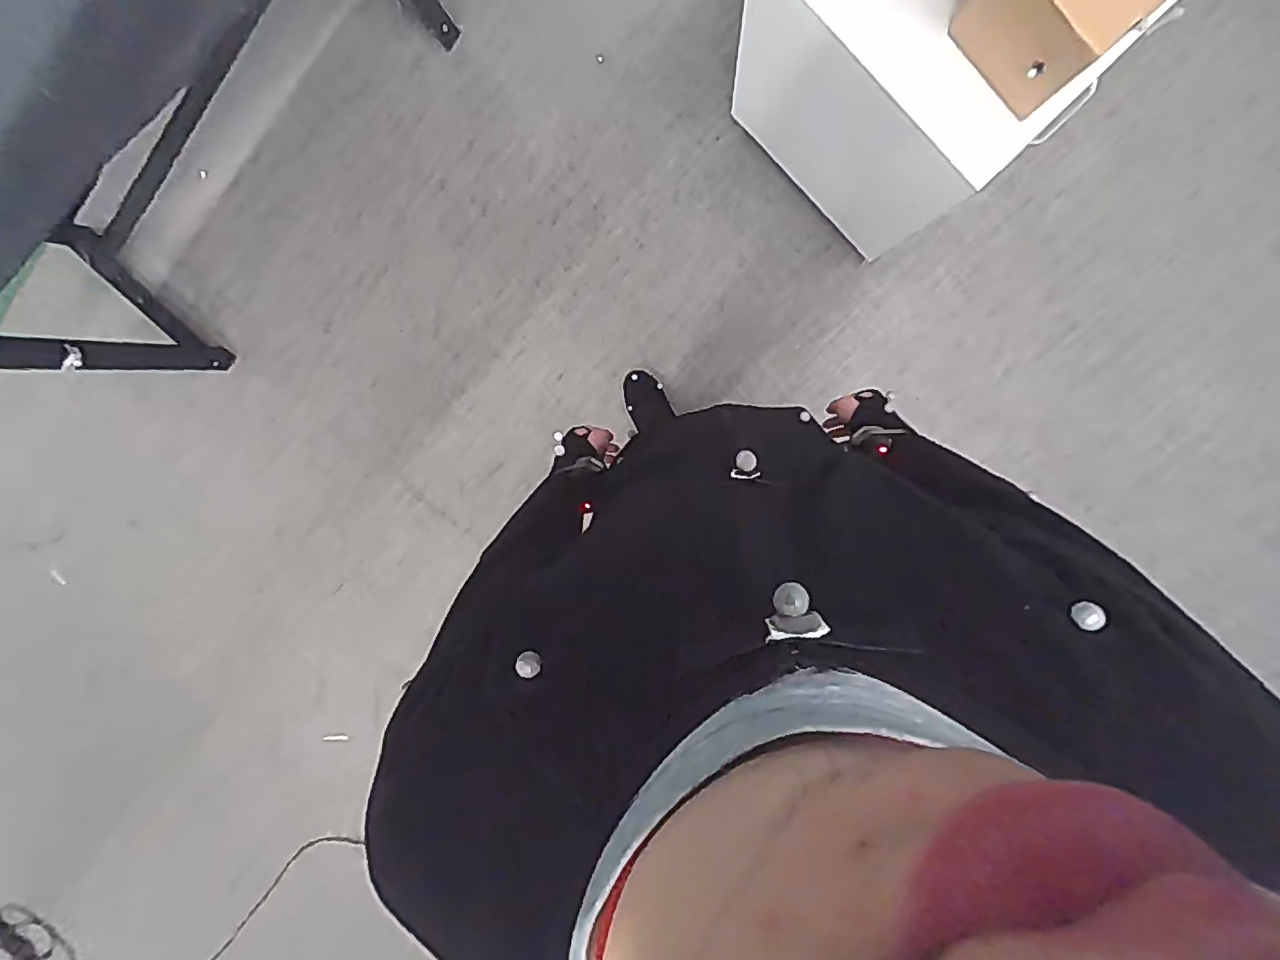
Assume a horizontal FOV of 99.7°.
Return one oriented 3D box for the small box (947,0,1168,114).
[{"bbox_3d":[0.554,-0.626,0.707,0.168,0.176,0.179,-43,92,11],"label":"small box"}]
